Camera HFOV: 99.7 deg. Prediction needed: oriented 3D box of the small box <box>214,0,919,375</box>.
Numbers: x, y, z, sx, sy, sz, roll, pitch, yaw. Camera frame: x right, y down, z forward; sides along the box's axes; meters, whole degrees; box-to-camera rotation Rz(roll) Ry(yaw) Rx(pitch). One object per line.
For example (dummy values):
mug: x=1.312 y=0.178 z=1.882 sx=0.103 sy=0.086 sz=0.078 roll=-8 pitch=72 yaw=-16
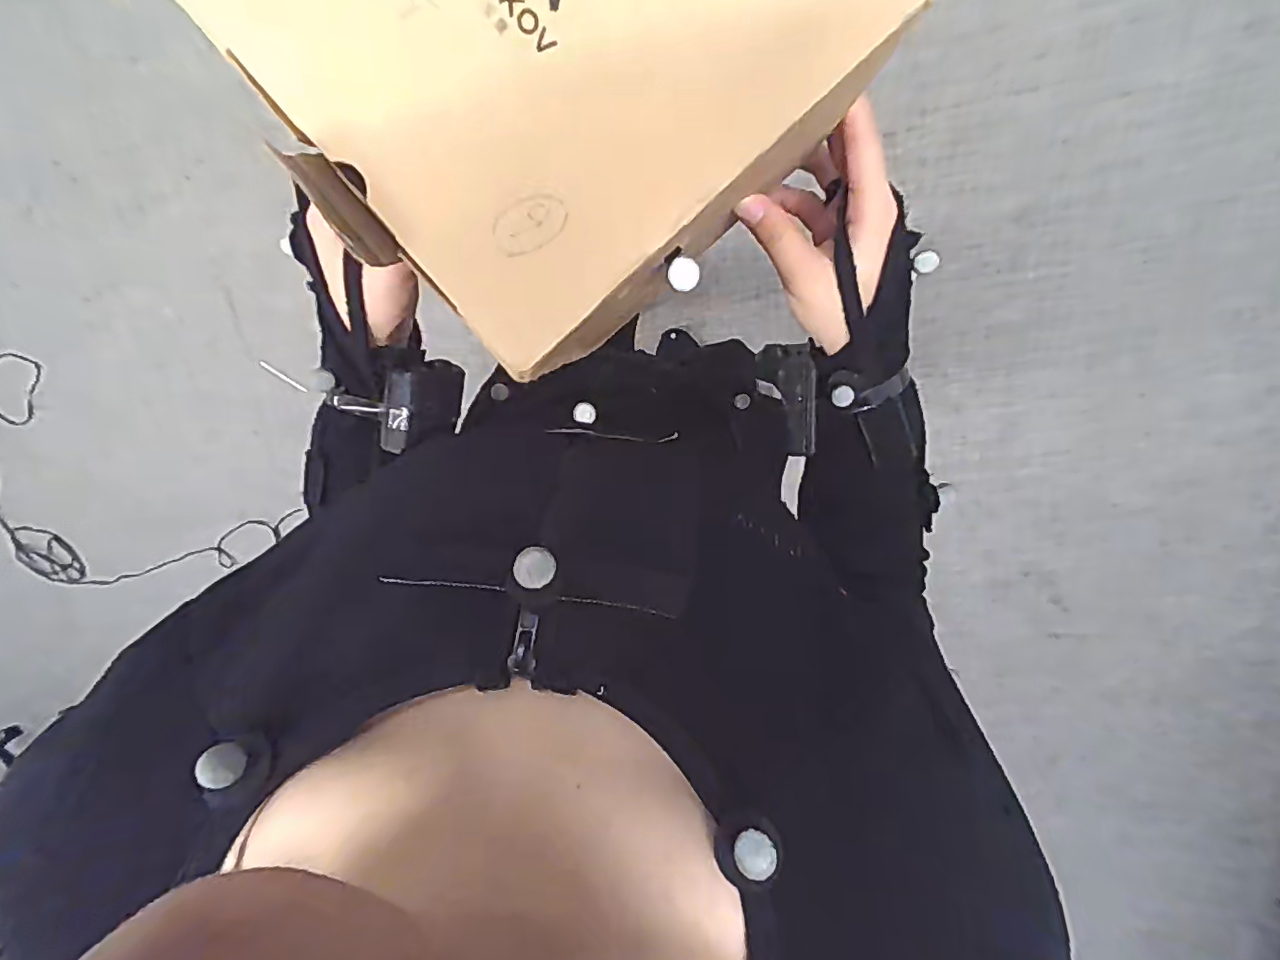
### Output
small box: x=-0.022 y=-0.172 z=0.250 sx=0.179 sy=0.176 sz=0.168 roll=-39 pitch=100 yaw=14
